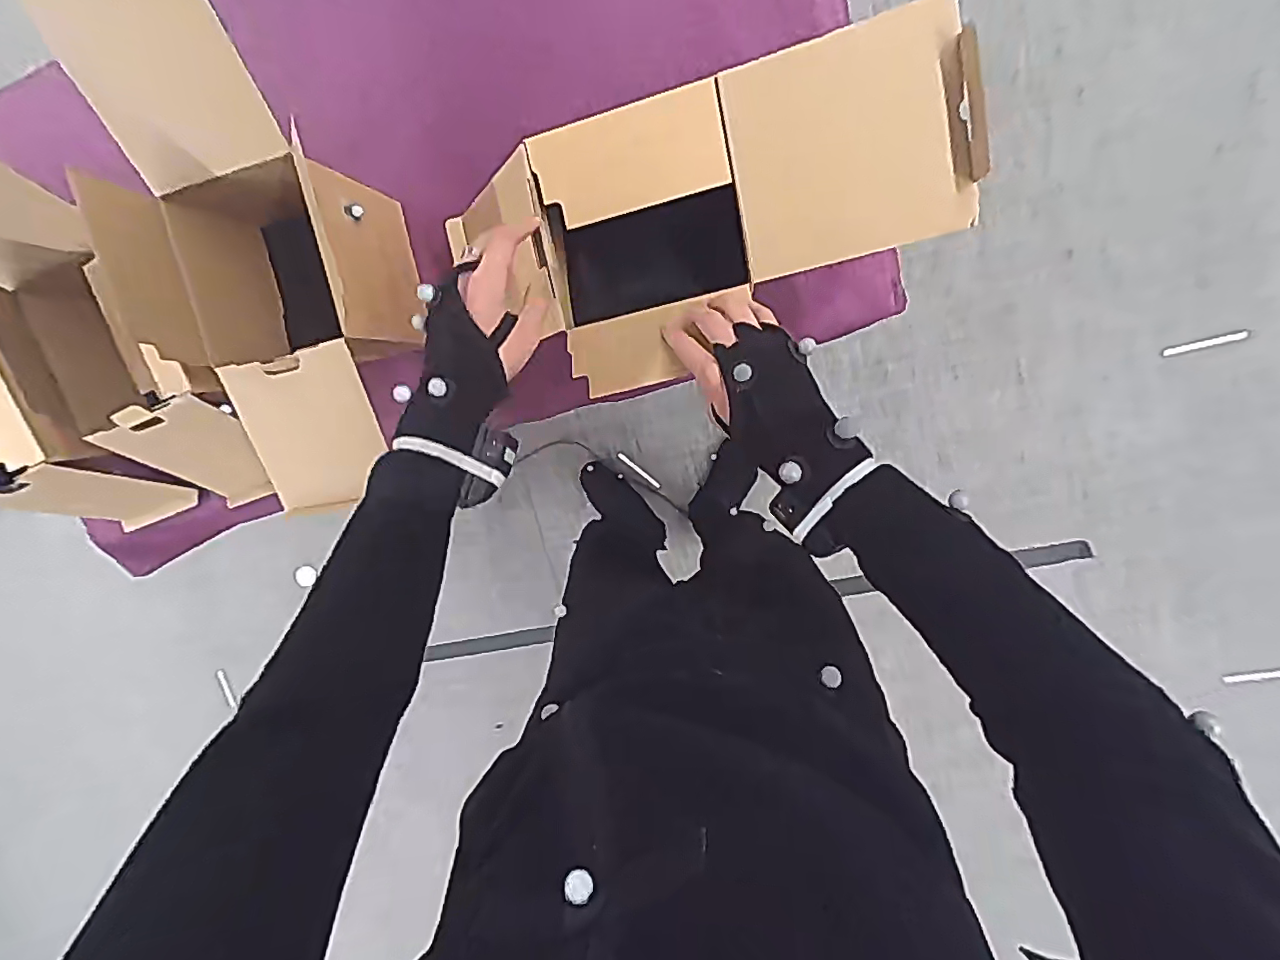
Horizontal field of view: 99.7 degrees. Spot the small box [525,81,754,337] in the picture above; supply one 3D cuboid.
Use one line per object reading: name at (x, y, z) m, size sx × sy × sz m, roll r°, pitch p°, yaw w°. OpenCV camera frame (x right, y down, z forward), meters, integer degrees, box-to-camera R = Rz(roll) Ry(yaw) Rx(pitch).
small box at (0.011, -0.244, 0.538) m, size 0.179 × 0.176 × 0.168 m, roll -9°, pitch 99°, yaw 12°
